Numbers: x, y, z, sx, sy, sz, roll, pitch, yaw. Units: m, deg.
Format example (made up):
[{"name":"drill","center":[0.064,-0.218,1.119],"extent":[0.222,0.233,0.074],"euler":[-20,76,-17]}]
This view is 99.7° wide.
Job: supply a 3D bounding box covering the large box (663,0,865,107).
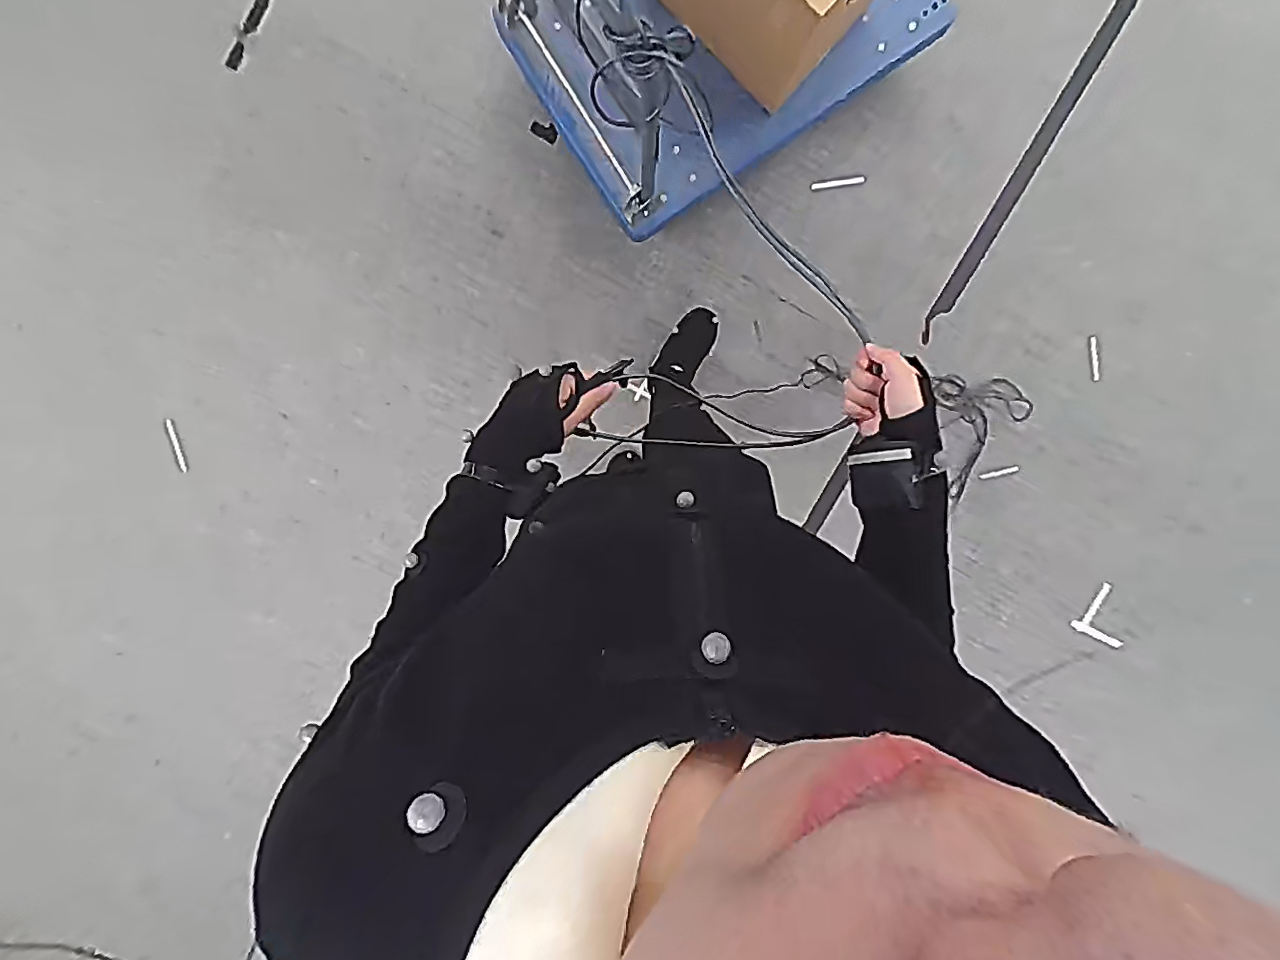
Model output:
[{"name":"large box","center":[0.250,-1.037,1.015],"extent":[0.408,0.320,0.320],"euler":[41,96,-8]}]
